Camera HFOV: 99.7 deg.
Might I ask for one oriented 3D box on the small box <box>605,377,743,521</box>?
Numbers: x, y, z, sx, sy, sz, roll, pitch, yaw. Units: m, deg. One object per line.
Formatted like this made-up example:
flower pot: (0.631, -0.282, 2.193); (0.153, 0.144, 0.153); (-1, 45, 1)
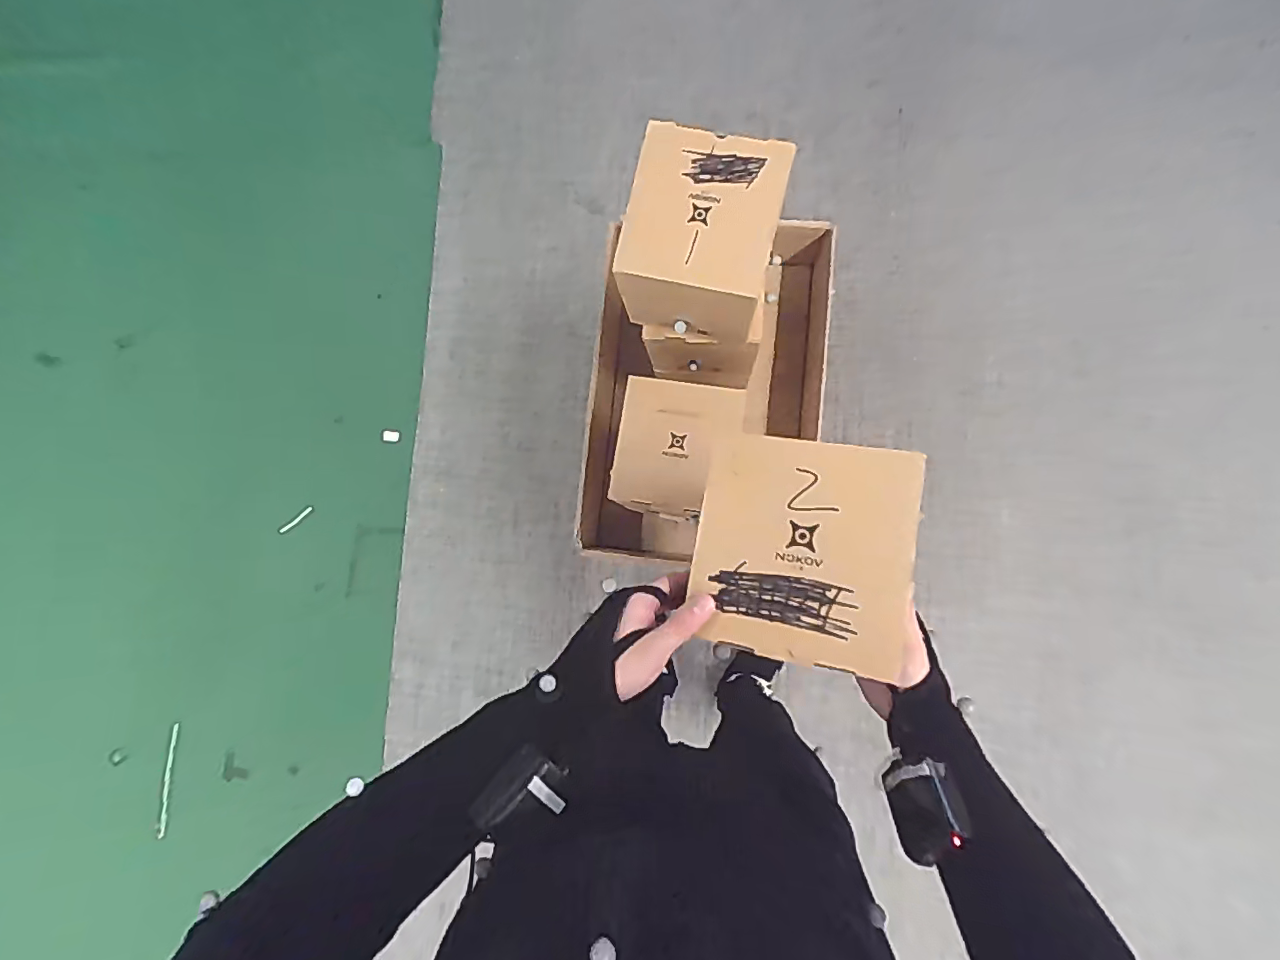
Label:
small box: (0.055, -0.037, 0.812); (0.168, 0.176, 0.179); (10, 84, 6)

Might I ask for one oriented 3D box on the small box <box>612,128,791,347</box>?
small box: (0.074, -0.287, 0.672); (0.168, 0.176, 0.179); (14, 89, 7)

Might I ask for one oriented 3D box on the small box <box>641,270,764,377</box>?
small box: (0.095, -0.270, 0.834); (0.168, 0.176, 0.179); (4, 87, 6)

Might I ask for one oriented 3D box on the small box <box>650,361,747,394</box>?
small box: (0.114, -0.260, 0.995); (0.168, 0.176, 0.179); (5, 87, 7)
